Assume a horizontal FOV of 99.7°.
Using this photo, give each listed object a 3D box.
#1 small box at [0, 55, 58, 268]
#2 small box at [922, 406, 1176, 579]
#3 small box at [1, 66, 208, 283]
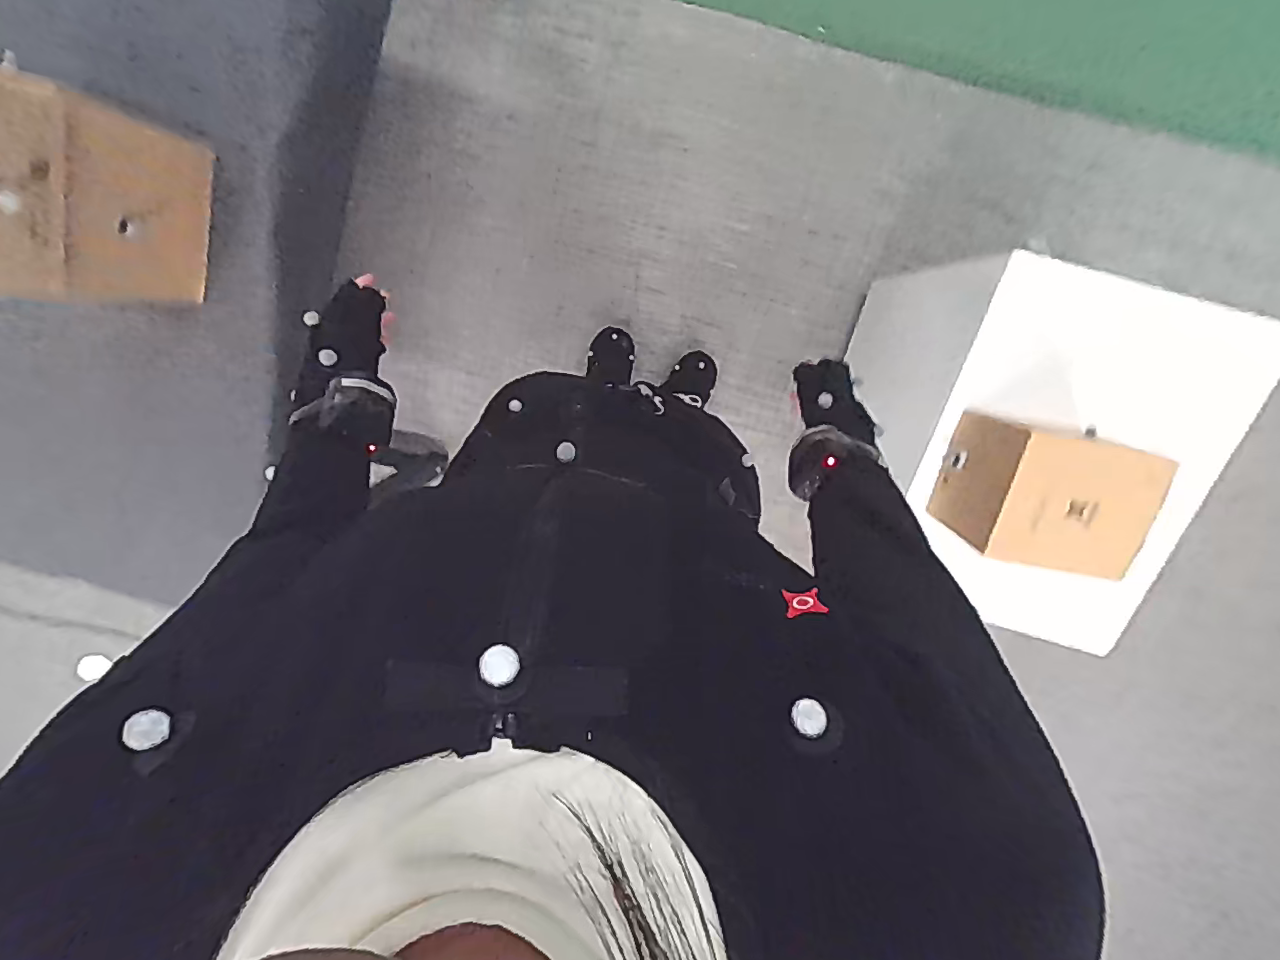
[{"bbox_3d":[-0.600,-0.265,0.397,0.179,0.176,0.168,16,107,2],"label":"small box"},{"bbox_3d":[0.510,0.006,0.707,0.179,0.176,0.168,11,107,2],"label":"small box"},{"bbox_3d":[-0.589,-0.312,0.554,0.168,0.176,0.179,18,108,-1],"label":"small box"}]
